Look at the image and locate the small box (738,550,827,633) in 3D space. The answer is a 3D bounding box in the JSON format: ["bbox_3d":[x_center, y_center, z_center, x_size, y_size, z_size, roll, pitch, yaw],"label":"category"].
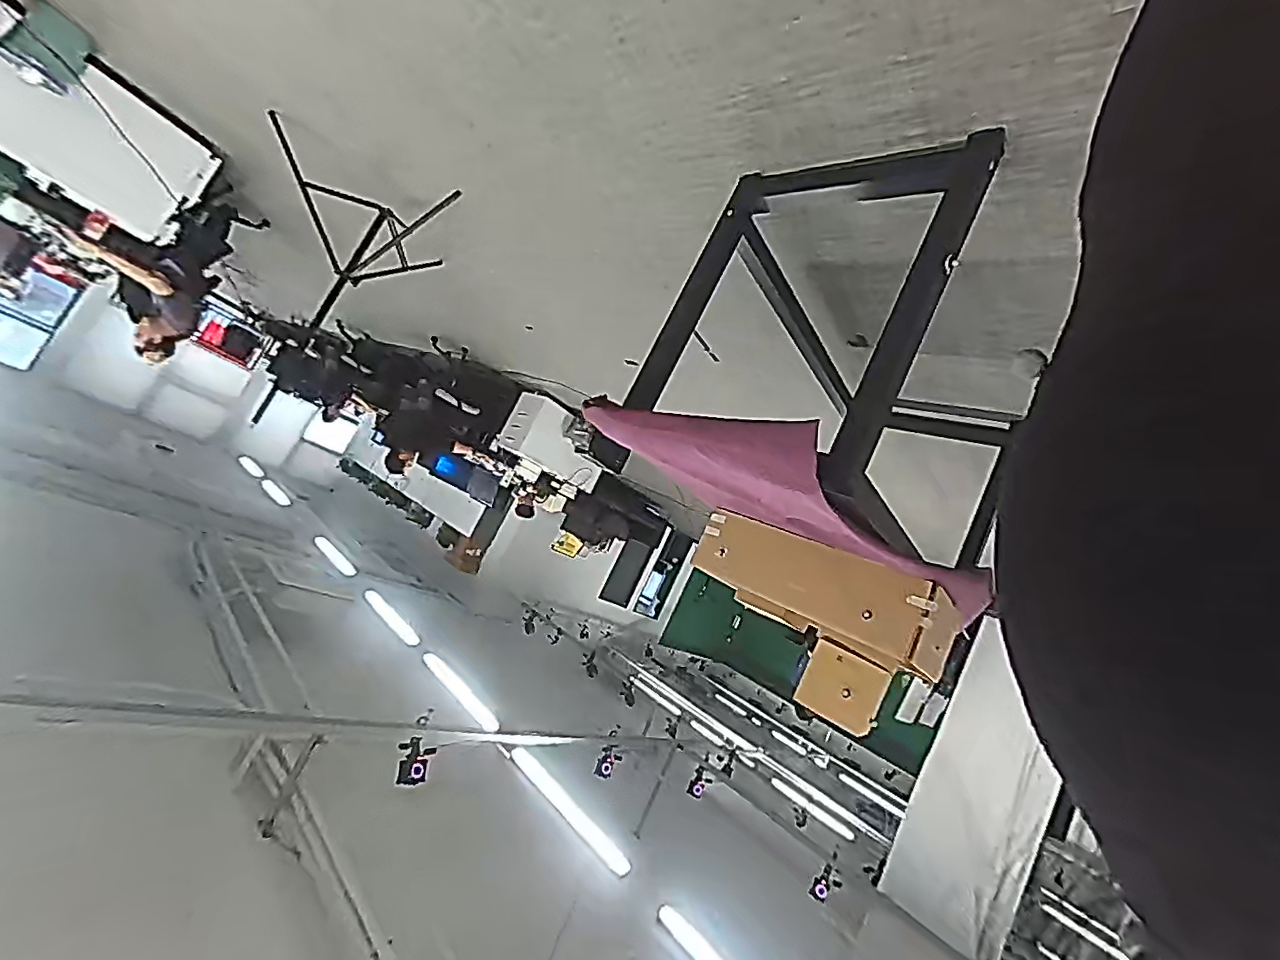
[{"bbox_3d":[0.421,0.324,1.591,0.168,0.176,0.179,17,168,45],"label":"small box"}]
